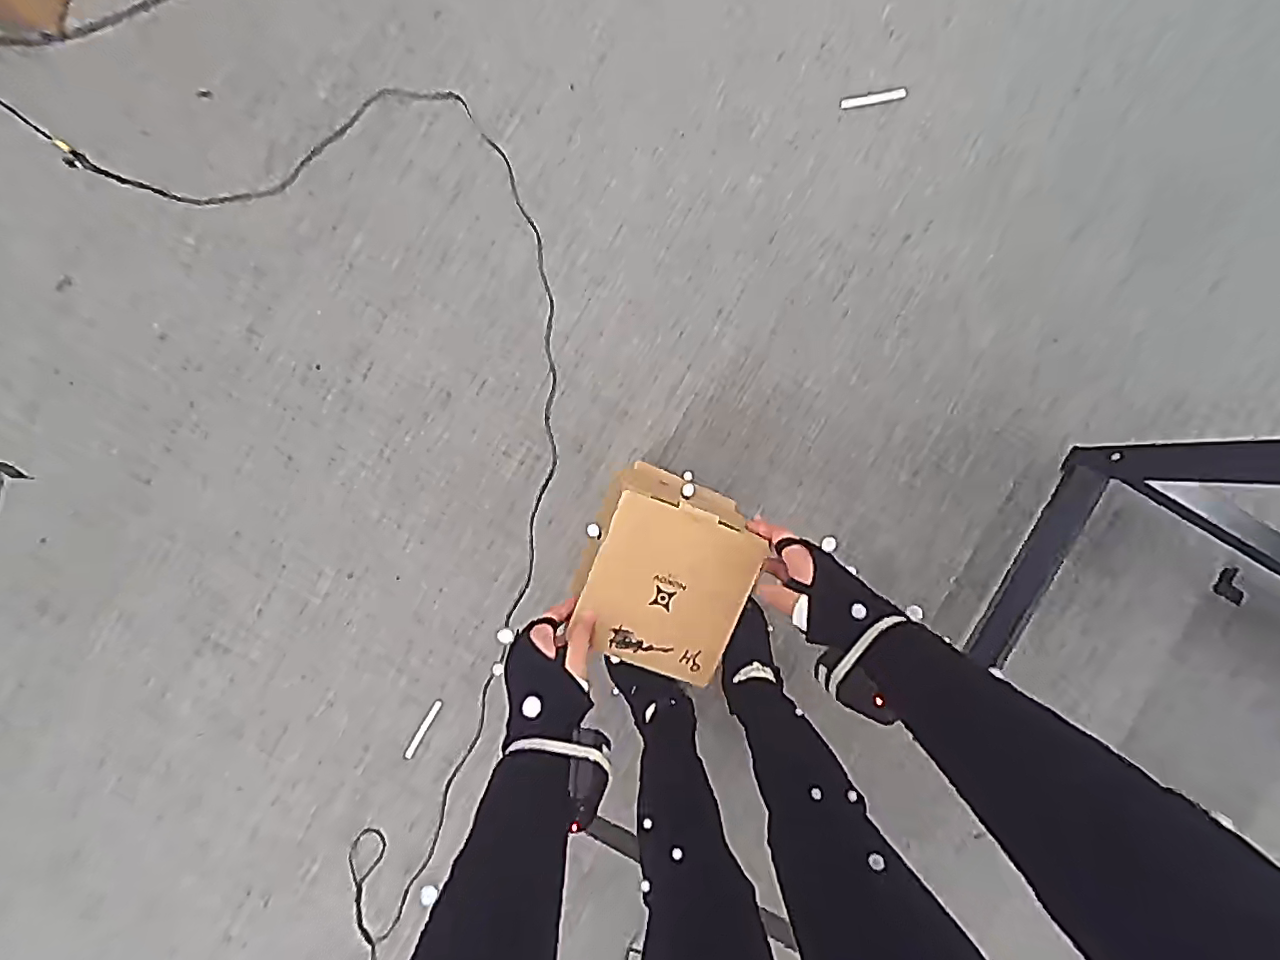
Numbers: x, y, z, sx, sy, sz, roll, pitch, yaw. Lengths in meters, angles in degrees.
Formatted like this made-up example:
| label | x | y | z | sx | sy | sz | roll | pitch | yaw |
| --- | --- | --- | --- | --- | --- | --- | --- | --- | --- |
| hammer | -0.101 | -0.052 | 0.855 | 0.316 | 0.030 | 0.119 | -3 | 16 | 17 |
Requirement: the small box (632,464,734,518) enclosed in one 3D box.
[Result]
| label | x | y | z | sx | sy | sz | roll | pitch | yaw |
| --- | --- | --- | --- | --- | --- | --- | --- | --- | --- |
| small box | 0.035 | 0.086 | 0.891 | 0.168 | 0.176 | 0.179 | 23 | 89 | -2 |

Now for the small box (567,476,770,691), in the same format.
| label | x | y | z | sx | sy | sz | roll | pitch | yaw |
| --- | --- | --- | --- | --- | --- | --- | --- | --- | --- |
| small box | 0.023 | 0.106 | 0.634 | 0.168 | 0.176 | 0.179 | 21 | 96 | -7 |
